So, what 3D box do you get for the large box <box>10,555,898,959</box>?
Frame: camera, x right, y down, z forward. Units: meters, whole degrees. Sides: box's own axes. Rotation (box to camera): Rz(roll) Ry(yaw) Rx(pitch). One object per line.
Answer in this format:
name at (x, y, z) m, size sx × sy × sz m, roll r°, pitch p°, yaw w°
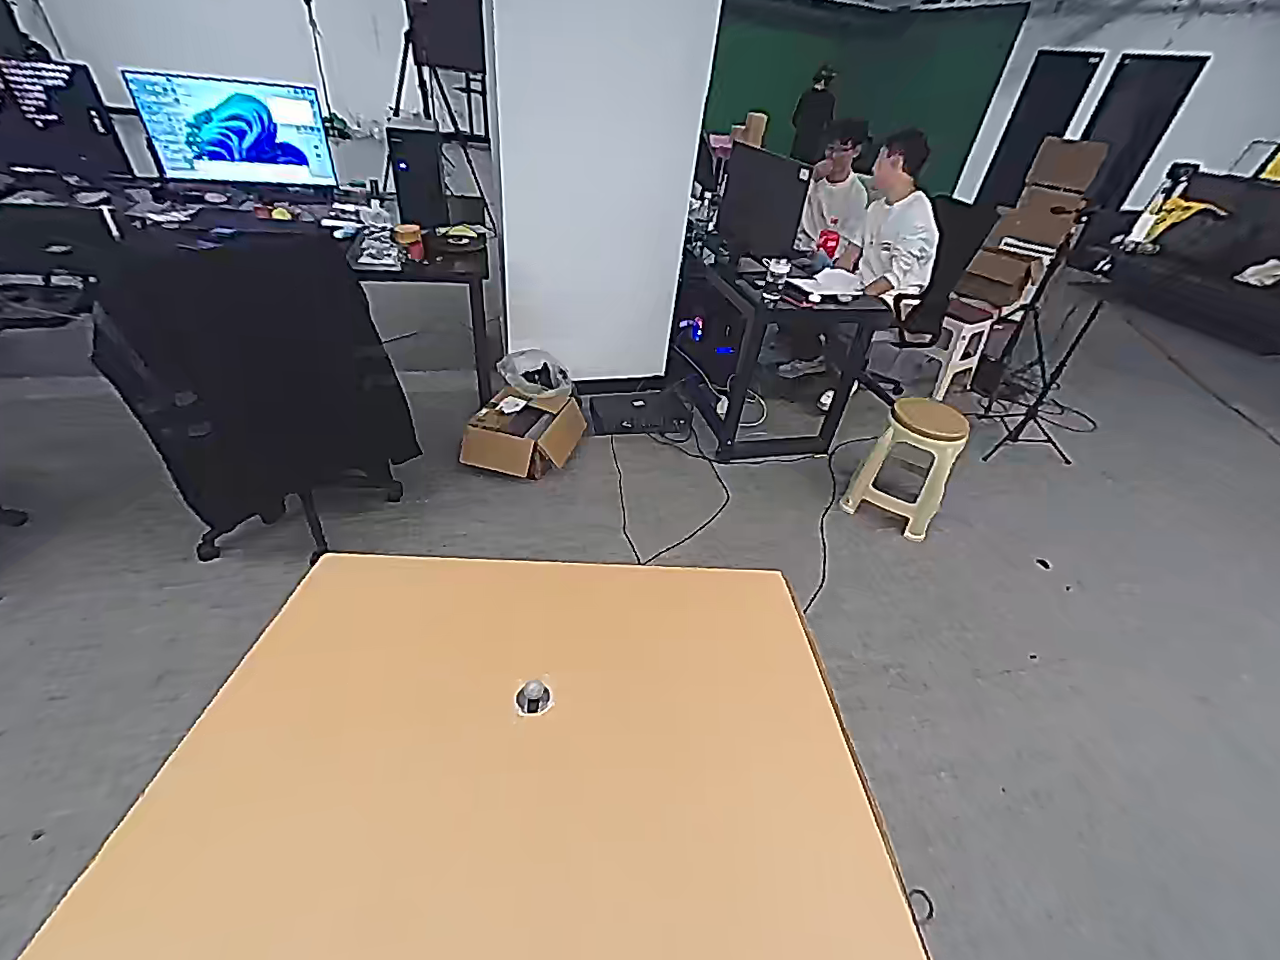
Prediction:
large box at (-0.090, 0.272, 0.426) m, size 0.408 × 0.320 × 0.320 m, roll 1°, pitch 33°, yaw -3°
